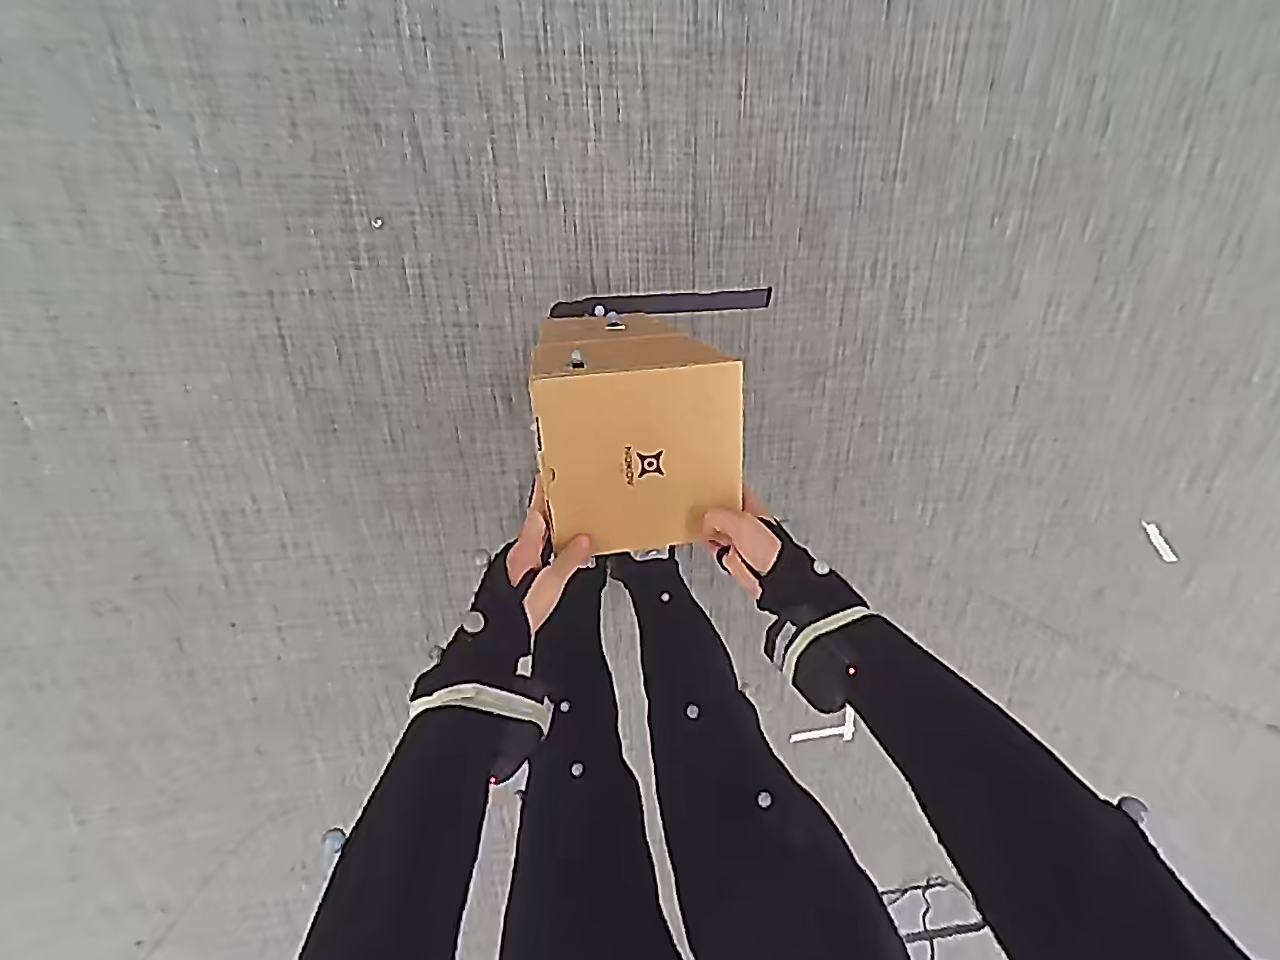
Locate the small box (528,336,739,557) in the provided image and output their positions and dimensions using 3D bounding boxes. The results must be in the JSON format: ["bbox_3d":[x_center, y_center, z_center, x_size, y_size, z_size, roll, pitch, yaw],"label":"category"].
[{"bbox_3d":[-0.012,-0.045,0.538,0.179,0.176,0.168,-7,113,-6],"label":"small box"}]

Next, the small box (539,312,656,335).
[{"bbox_3d":[-0.062,-0.159,0.837,0.168,0.176,0.179,-6,111,-6],"label":"small box"}]

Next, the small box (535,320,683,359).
[{"bbox_3d":[-0.038,-0.102,0.688,0.168,0.176,0.179,-7,111,-7],"label":"small box"}]
